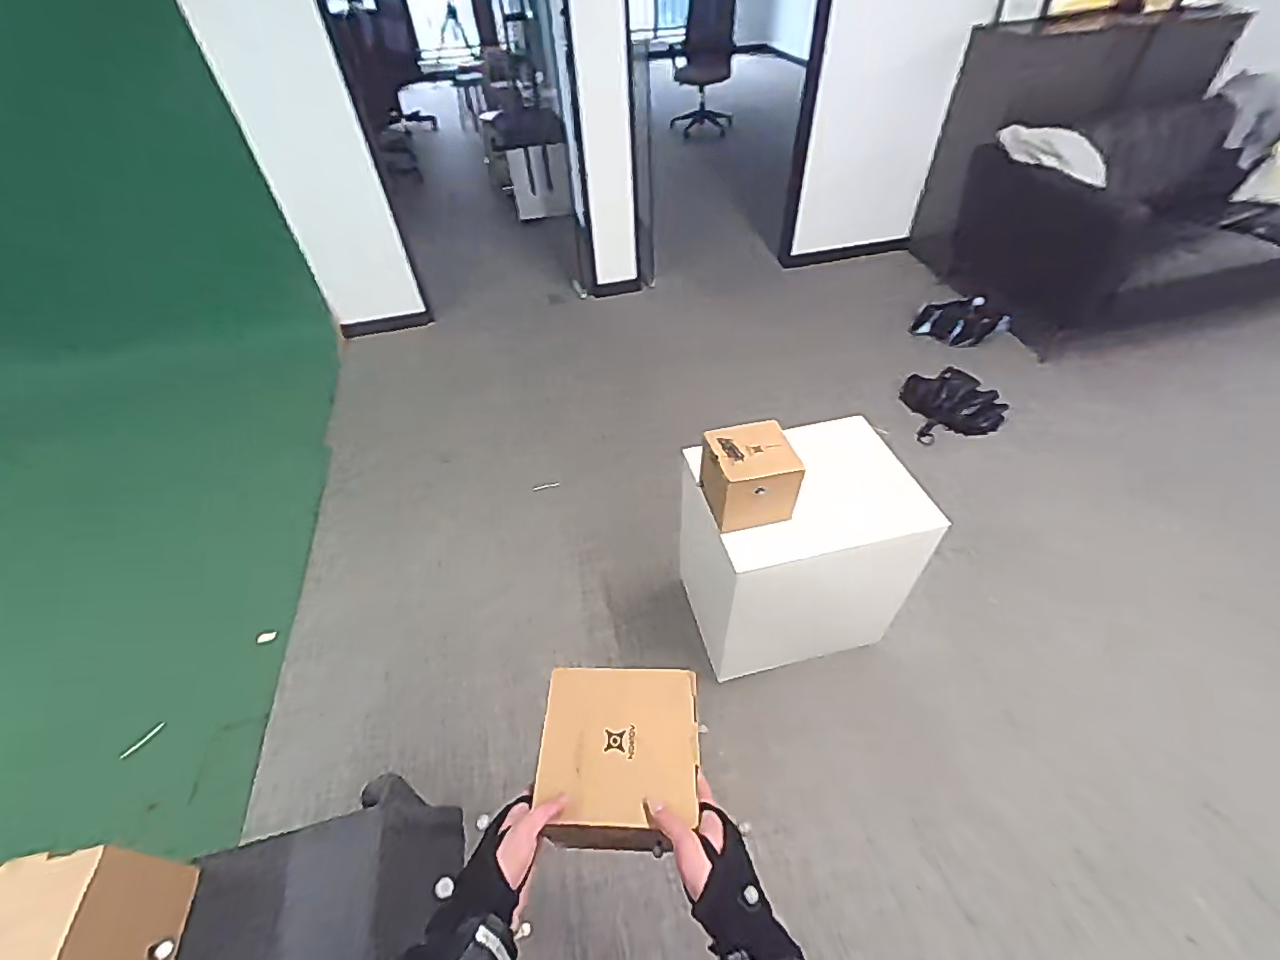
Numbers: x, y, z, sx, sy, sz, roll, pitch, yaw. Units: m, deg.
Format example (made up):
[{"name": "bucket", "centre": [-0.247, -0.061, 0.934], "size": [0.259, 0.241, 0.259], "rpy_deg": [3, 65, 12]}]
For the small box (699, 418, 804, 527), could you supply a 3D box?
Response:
[{"name": "small box", "centre": [0.238, -0.013, 1.212], "size": [0.179, 0.176, 0.168], "rpy_deg": [-9, 48, -10]}]

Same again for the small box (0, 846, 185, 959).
[{"name": "small box", "centre": [-0.629, 0.514, 0.561], "size": [0.168, 0.176, 0.179], "rpy_deg": [-9, 47, -7]}]

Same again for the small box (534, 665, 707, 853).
[{"name": "small box", "centre": [-0.014, 0.337, 0.652], "size": [0.179, 0.176, 0.168], "rpy_deg": [-1, 48, 4]}]
